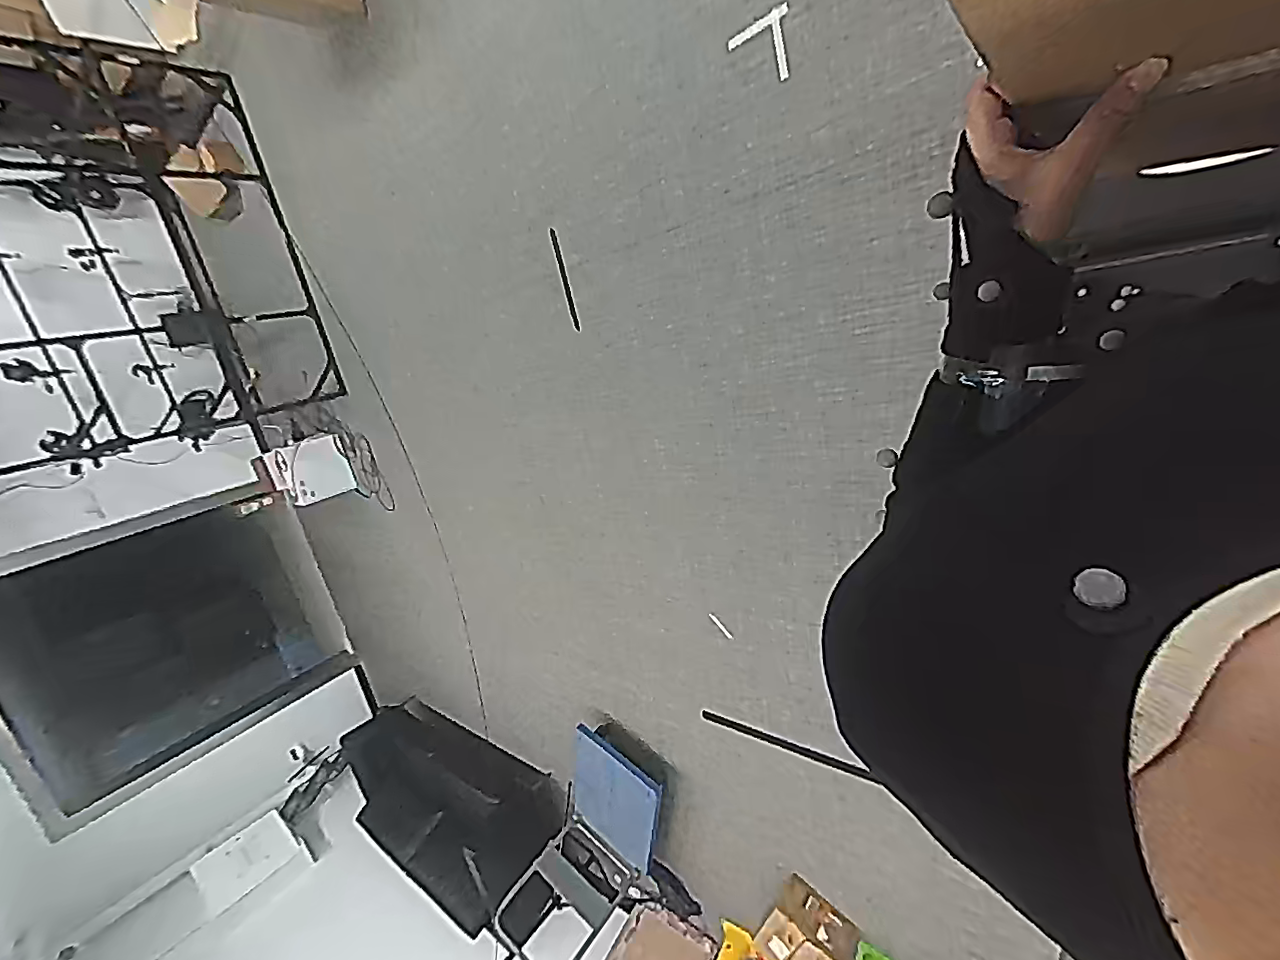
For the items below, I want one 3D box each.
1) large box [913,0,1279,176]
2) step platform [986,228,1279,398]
[{"bbox_3d":[0.360,-0.345,0.164,0.408,0.320,0.320,12,107,46],"label":"large box"},{"bbox_3d":[1.053,-0.309,1.014,0.684,0.204,0.286,8,115,41],"label":"step platform"}]
